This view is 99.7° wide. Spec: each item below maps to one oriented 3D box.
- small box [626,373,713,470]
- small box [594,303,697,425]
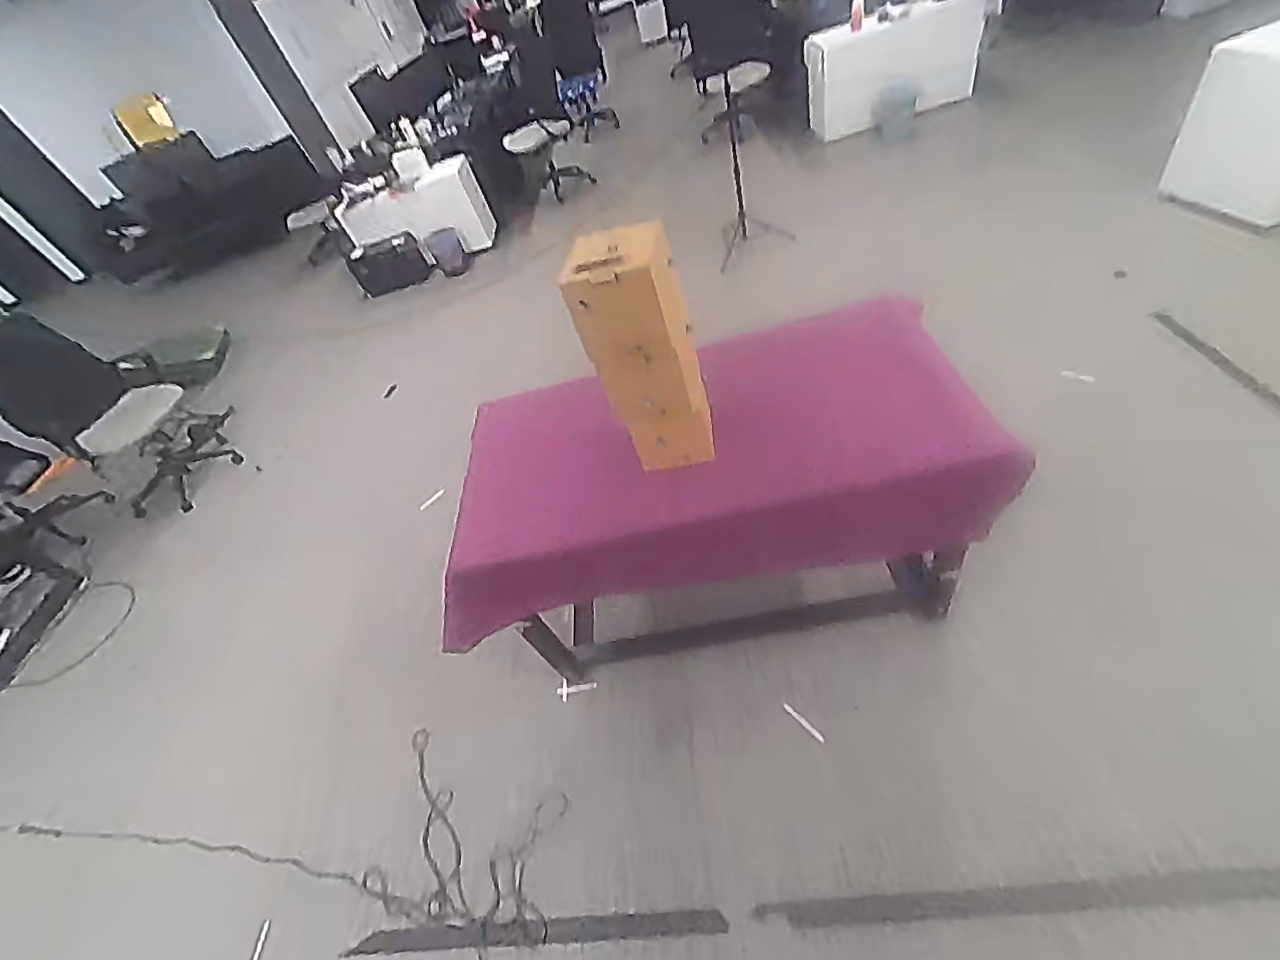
[{"bbox_3d":[0.071,-0.140,1.247,0.168,0.176,0.179,-11,46,12],"label":"small box"},{"bbox_3d":[0.021,-0.238,1.124,0.168,0.176,0.179,-5,48,17],"label":"small box"}]
